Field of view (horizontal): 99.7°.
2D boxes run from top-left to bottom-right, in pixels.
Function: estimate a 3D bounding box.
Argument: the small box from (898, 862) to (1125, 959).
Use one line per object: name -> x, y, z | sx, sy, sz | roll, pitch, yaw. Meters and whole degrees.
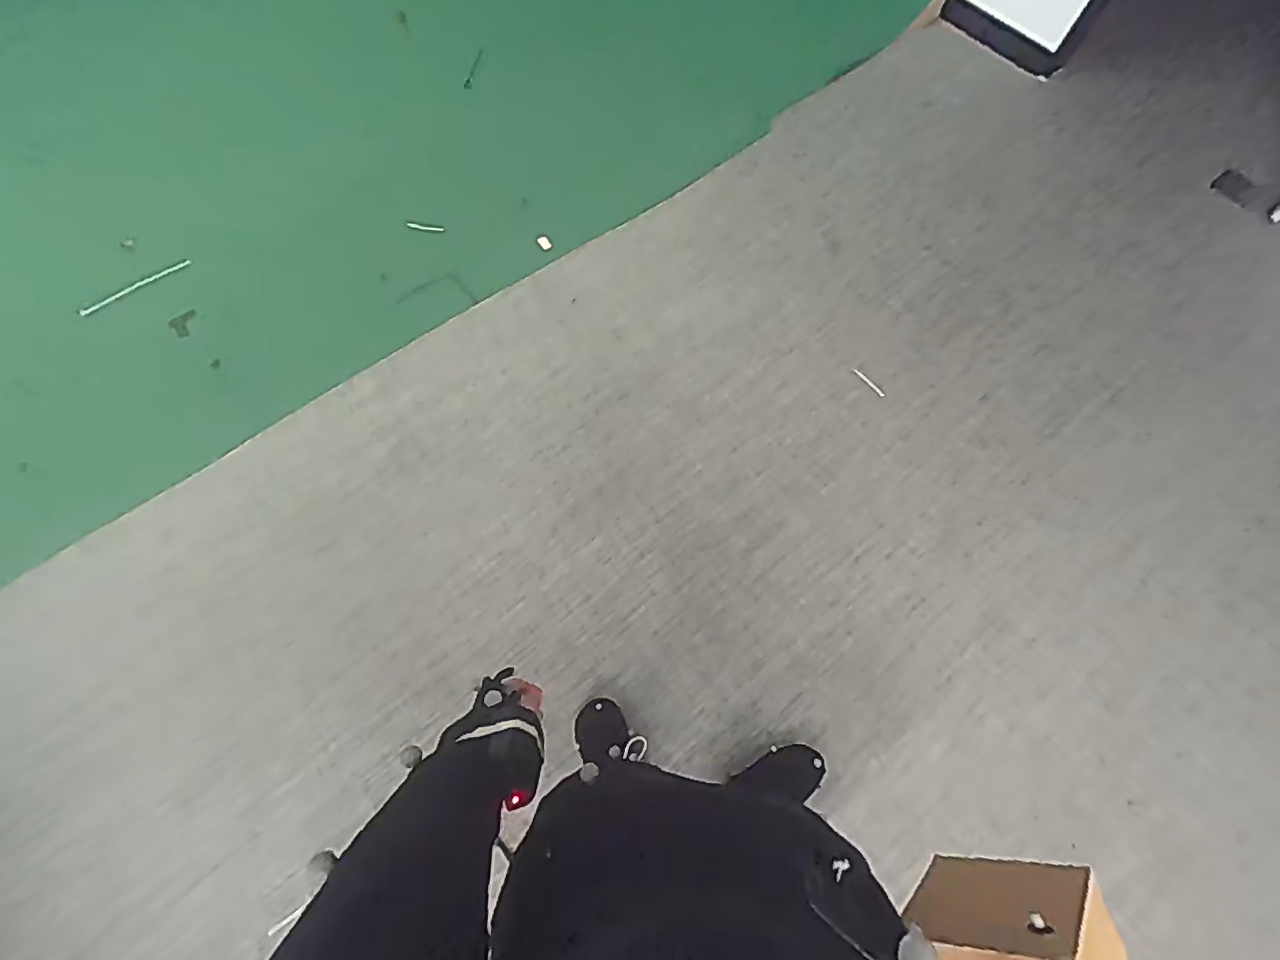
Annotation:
small box -> 0.394, 0.527, 0.556 | 0.179, 0.176, 0.168 | 1, 69, -47
